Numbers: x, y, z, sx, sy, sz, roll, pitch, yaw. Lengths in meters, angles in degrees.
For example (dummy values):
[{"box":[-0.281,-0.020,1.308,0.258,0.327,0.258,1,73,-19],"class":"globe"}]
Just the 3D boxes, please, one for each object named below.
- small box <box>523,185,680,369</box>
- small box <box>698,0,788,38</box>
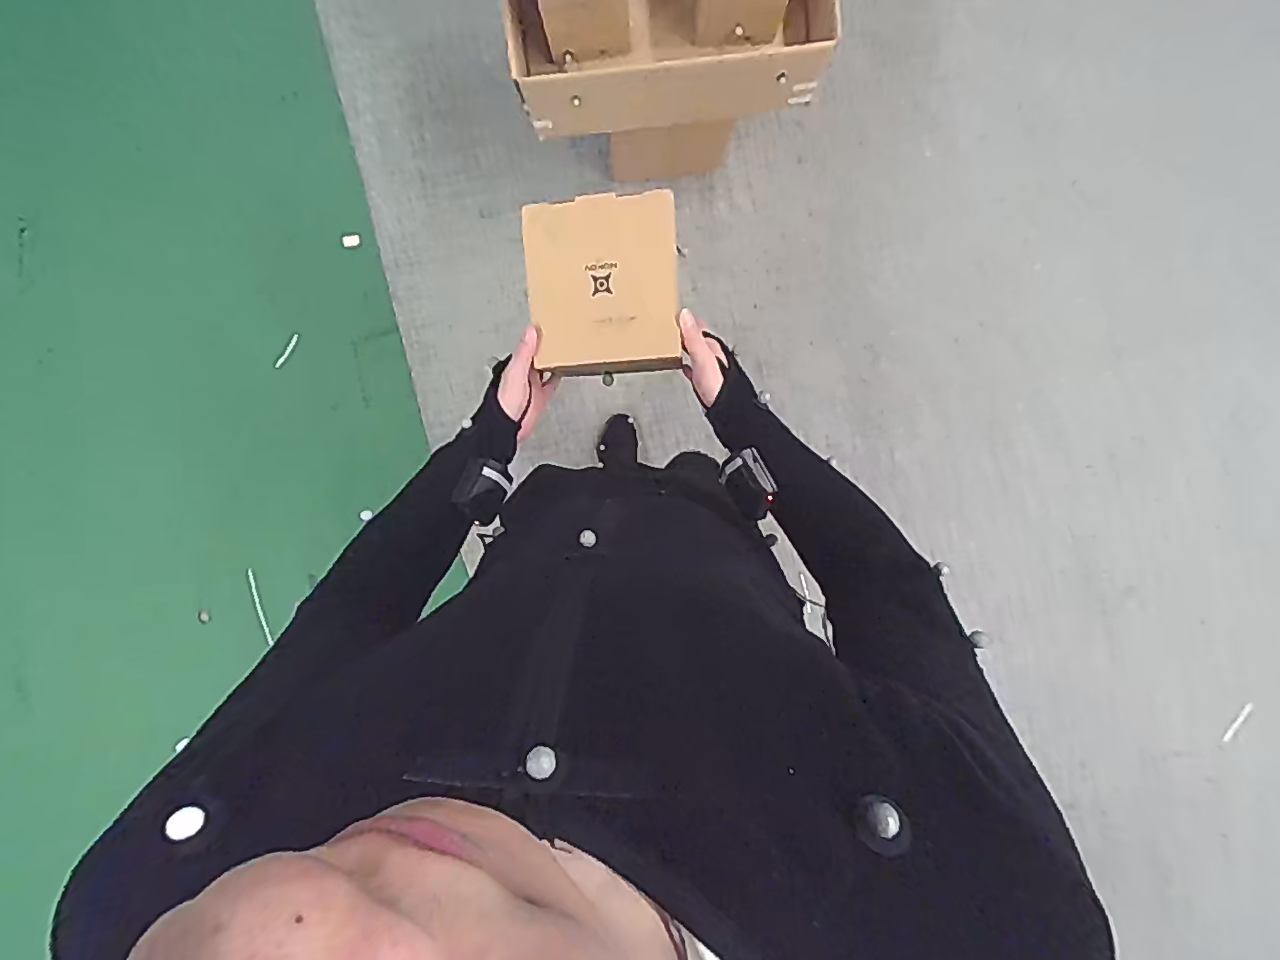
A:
[{"box":[-0.037,-0.236,0.669,0.168,0.176,0.179,-2,97,7],"class":"small box"},{"box":[0.197,-0.986,1.020,0.168,0.176,0.179,-2,97,2],"class":"small box"}]
